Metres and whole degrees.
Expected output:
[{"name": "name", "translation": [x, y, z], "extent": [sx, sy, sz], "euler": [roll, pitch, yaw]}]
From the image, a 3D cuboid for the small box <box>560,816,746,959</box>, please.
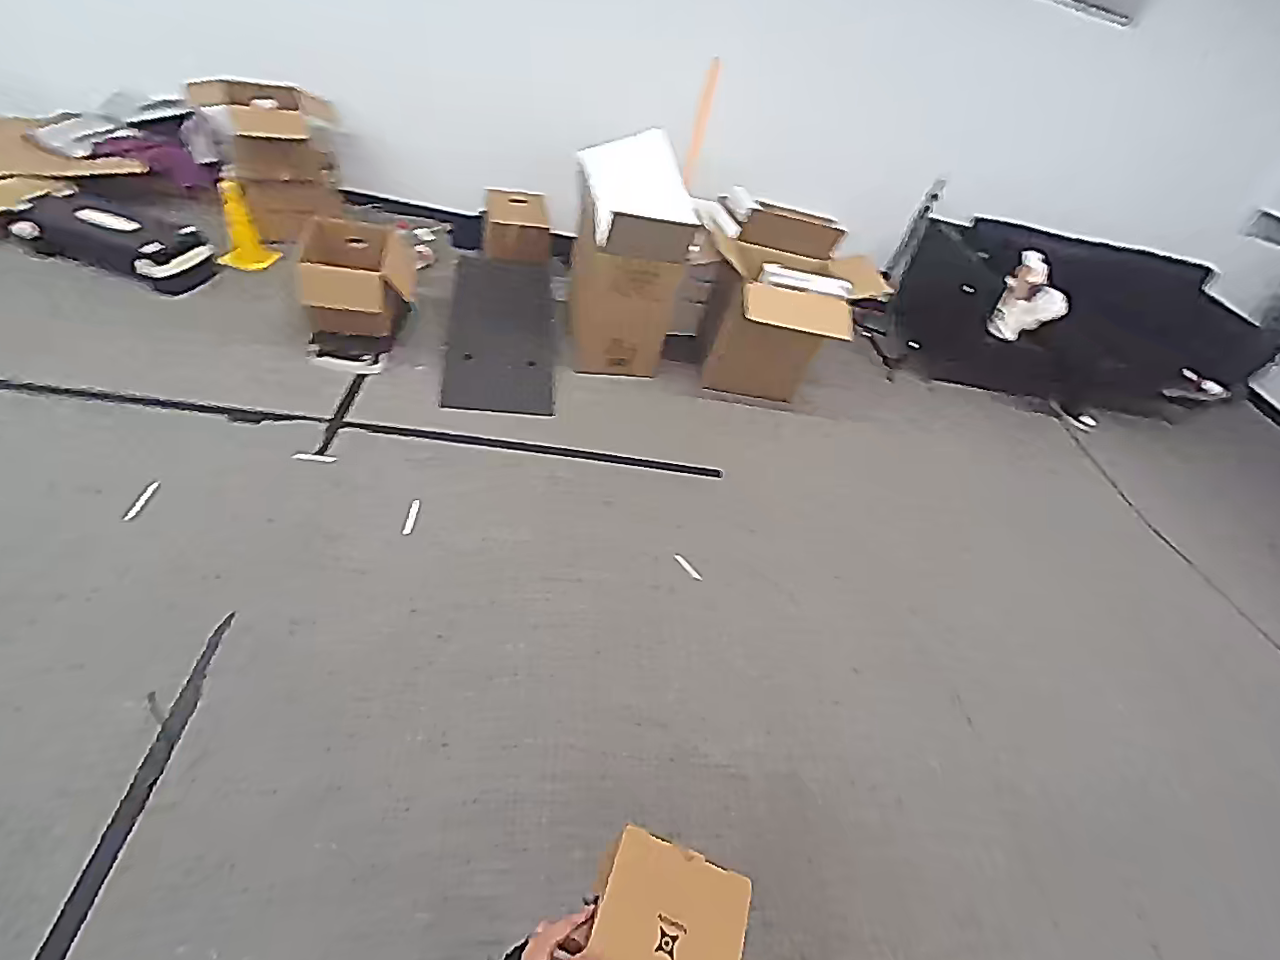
[{"name": "small box", "translation": [0.006, 0.542, 0.631], "extent": [0.168, 0.176, 0.179], "euler": [22, 41, 5]}]
